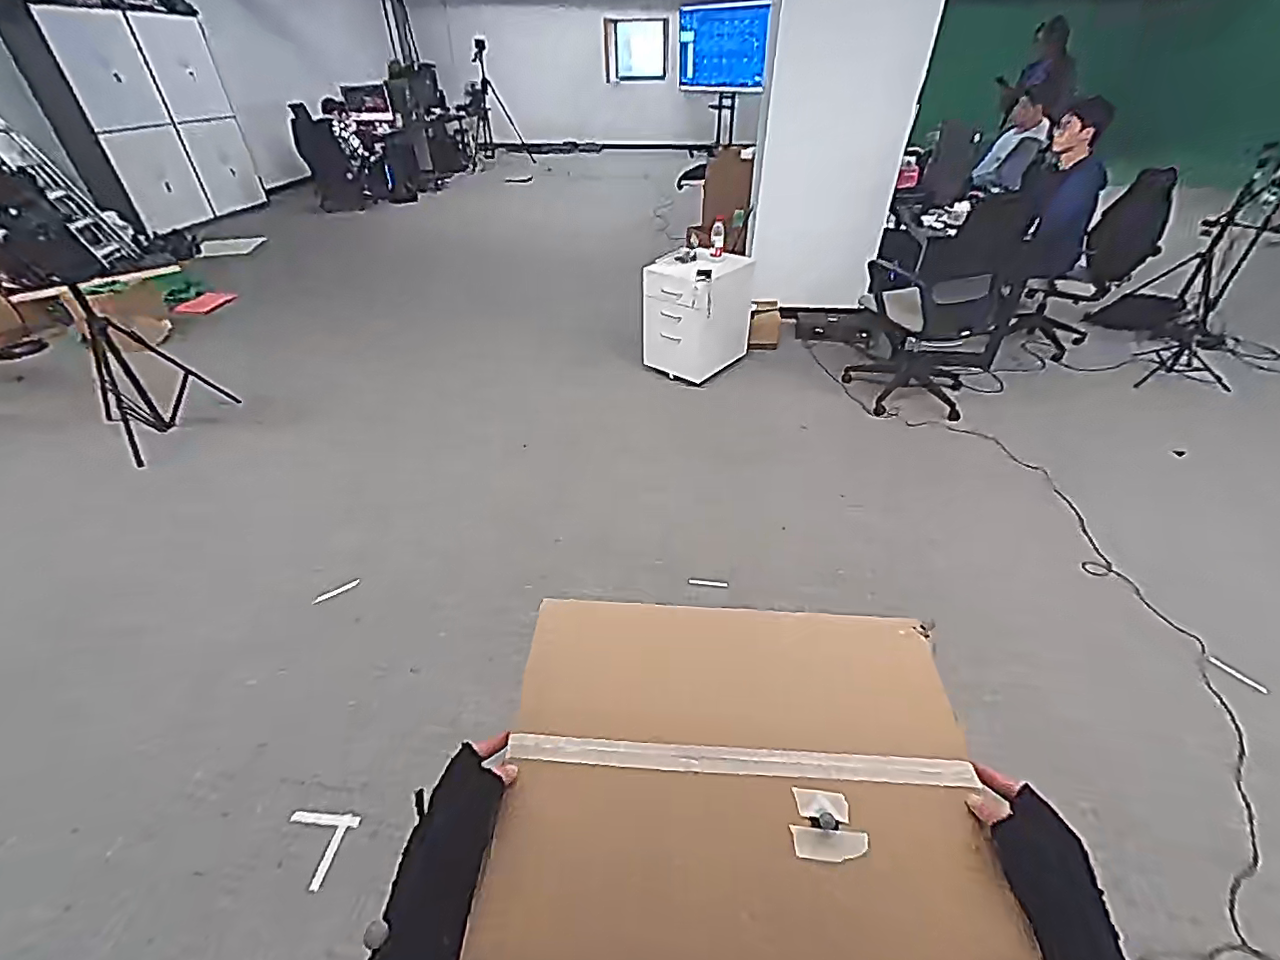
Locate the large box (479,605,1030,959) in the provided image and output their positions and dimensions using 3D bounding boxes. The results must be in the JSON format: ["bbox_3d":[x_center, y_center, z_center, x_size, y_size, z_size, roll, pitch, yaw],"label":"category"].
[{"bbox_3d":[0.086,0.359,0.587,0.408,0.320,0.320,3,44,3],"label":"large box"}]
